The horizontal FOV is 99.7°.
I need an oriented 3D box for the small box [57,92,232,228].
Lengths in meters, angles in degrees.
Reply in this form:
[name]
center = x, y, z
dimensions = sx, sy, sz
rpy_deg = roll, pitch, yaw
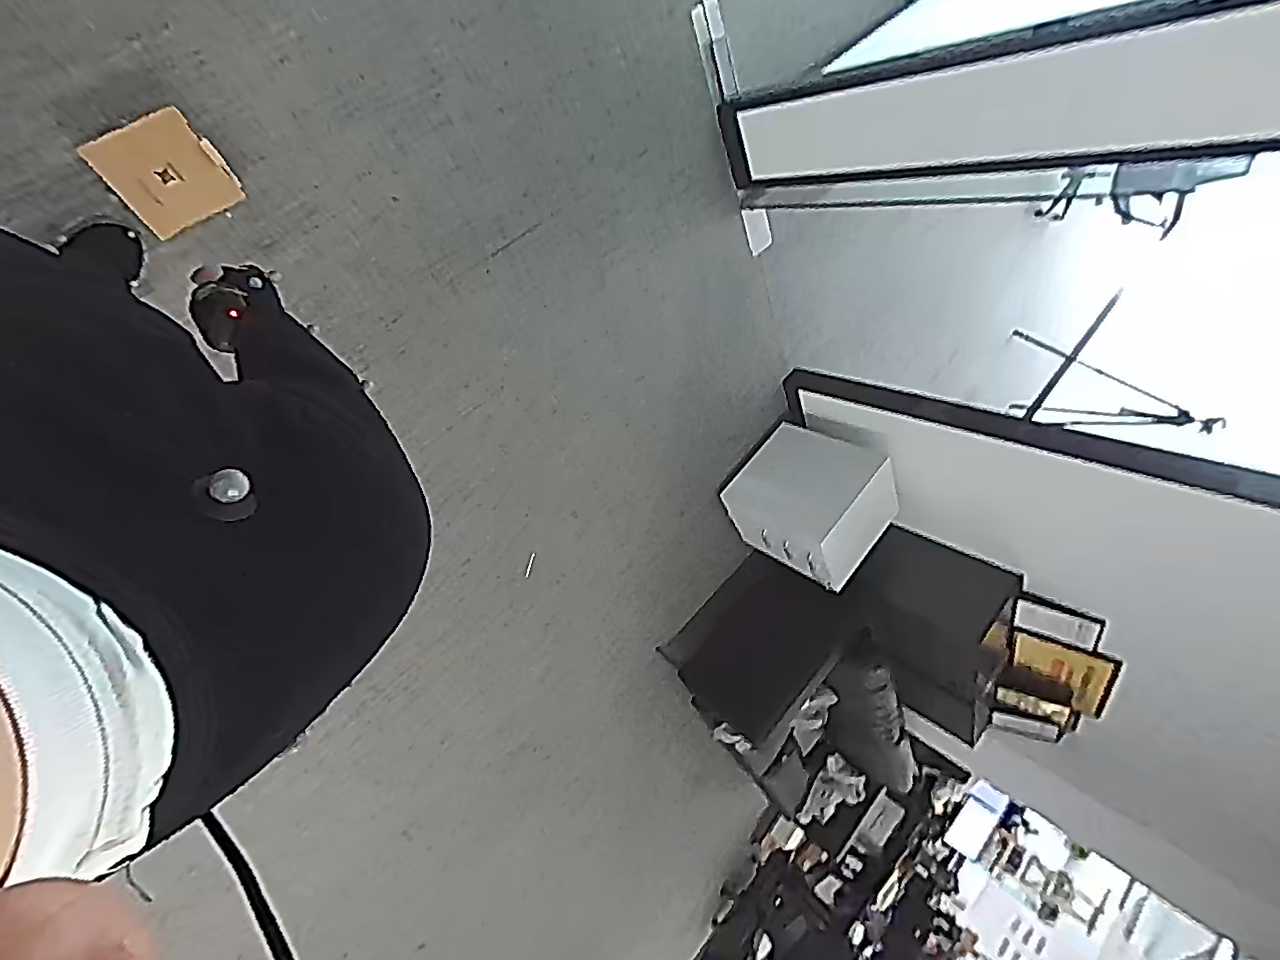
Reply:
[small box]
center = -0.920, -0.594, 1.016
dimensions = 0.179, 0.176, 0.168
rpy_deg = -41, 131, -20
